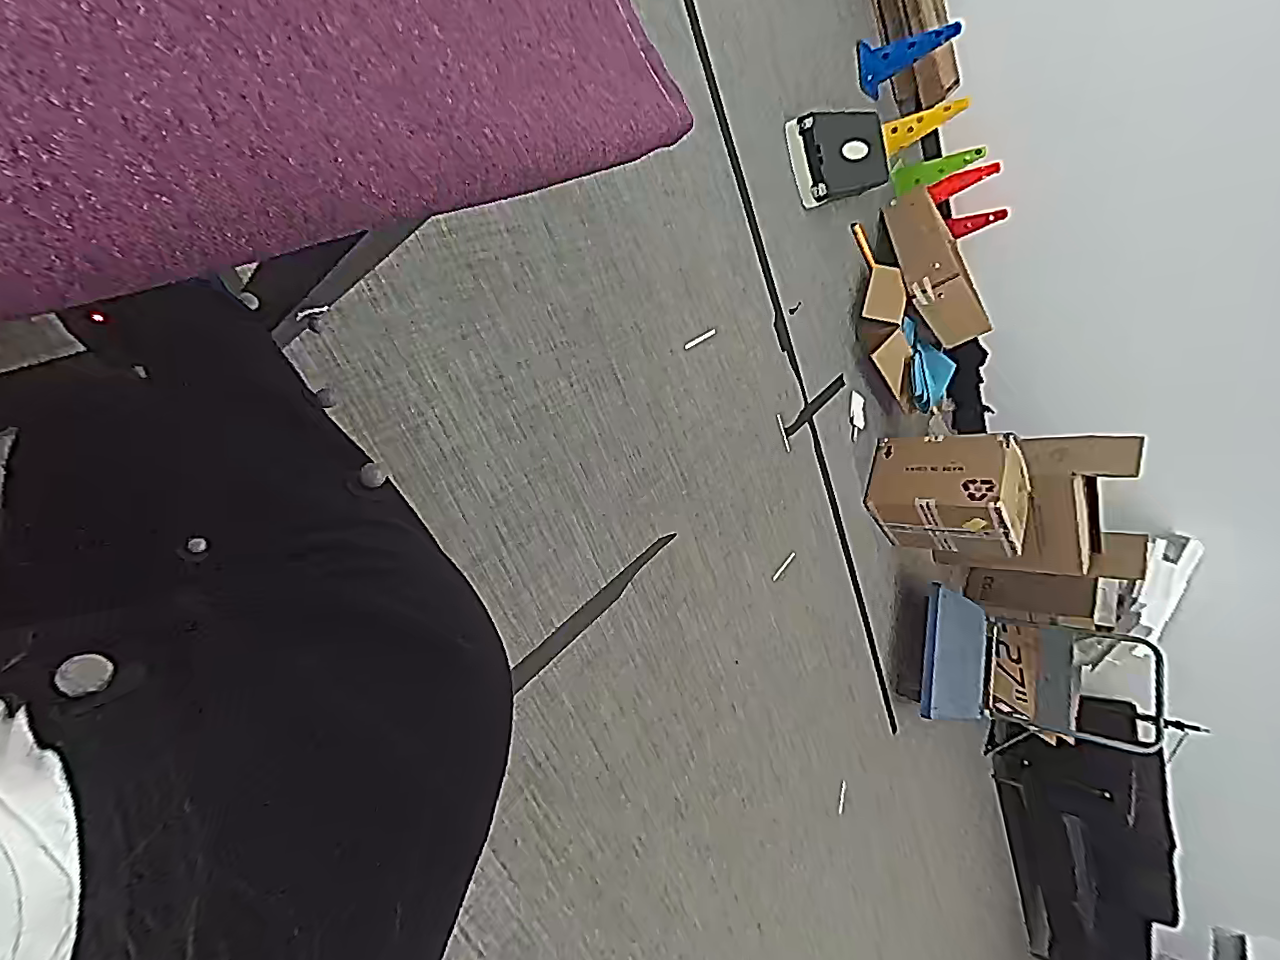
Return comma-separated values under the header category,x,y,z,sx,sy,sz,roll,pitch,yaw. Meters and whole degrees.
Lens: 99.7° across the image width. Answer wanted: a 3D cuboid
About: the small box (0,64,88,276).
category,x,y,z,sx,sy,sz,roll,pitch,yaw
small box,-0.605,-0.271,0.437,0.168,0.176,0.179,-35,115,-39
